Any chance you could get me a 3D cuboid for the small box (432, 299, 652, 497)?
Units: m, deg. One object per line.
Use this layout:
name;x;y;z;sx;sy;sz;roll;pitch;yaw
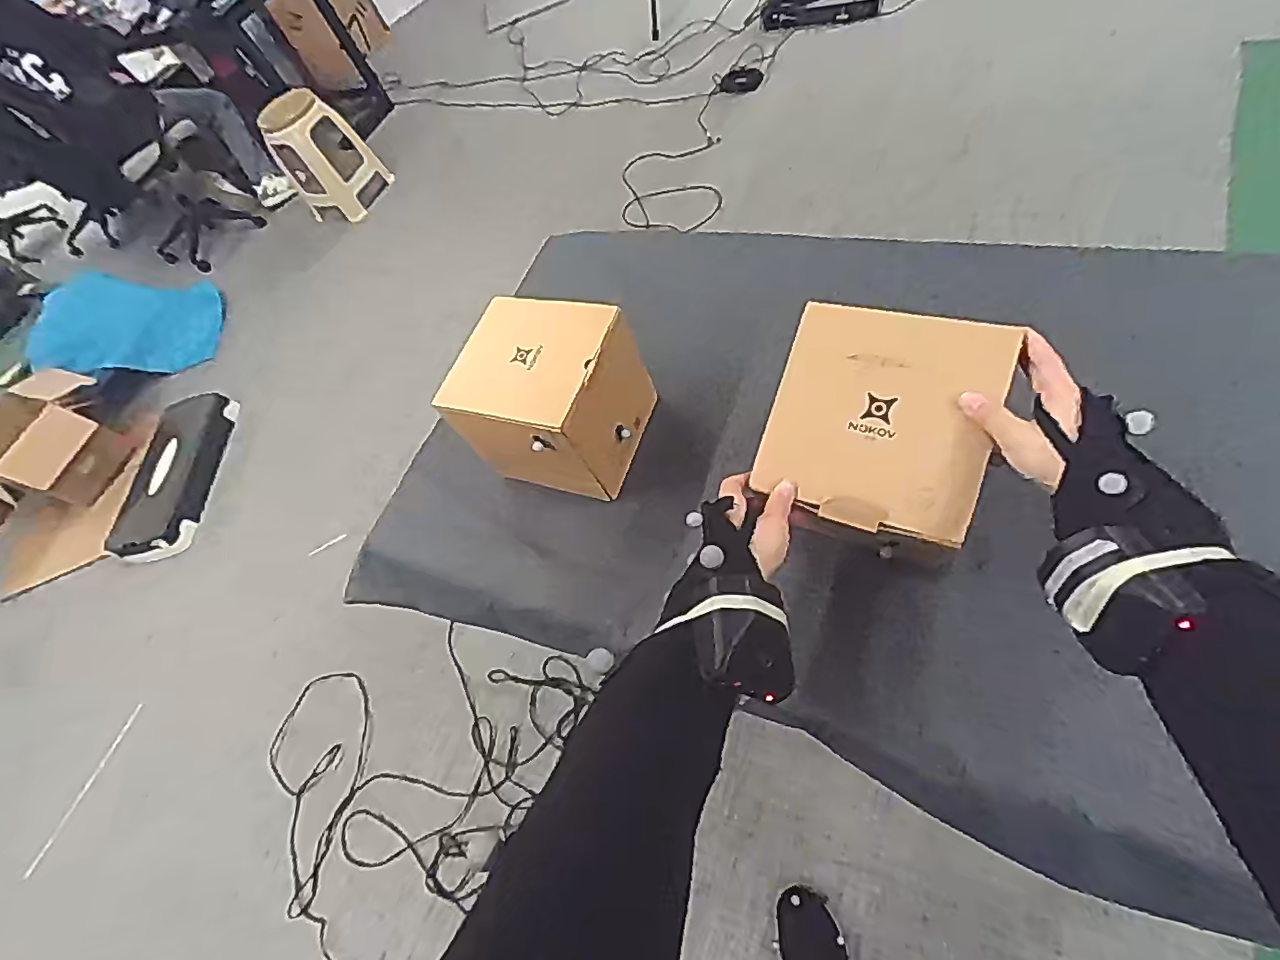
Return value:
small box;-0.106;-0.096;0.662;0.179;0.176;0.168;12;66;22
